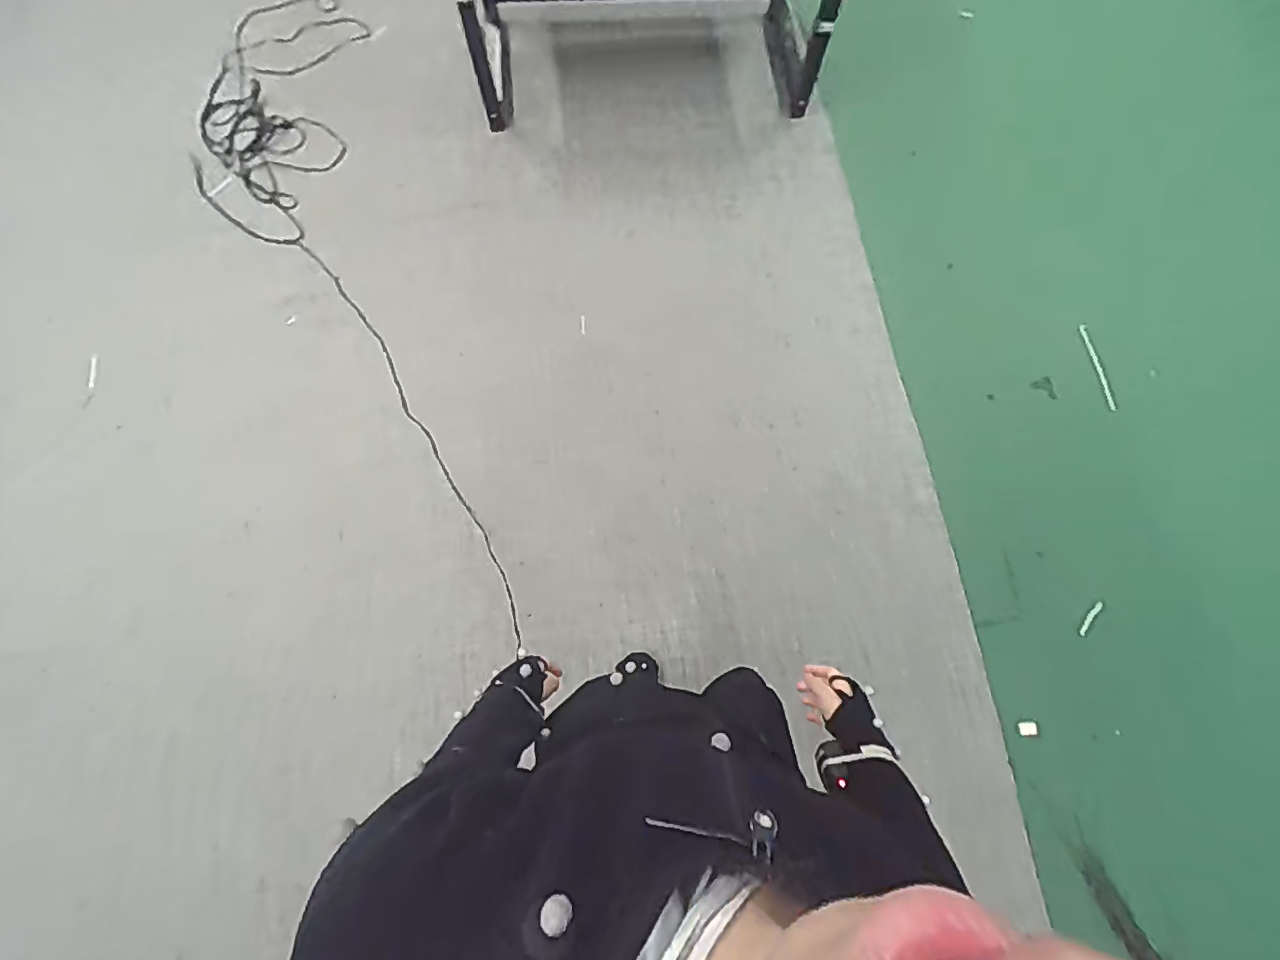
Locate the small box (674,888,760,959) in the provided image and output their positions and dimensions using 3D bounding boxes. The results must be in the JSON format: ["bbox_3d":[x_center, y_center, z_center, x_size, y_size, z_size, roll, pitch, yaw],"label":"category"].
[{"bbox_3d":[0.168,1.059,1.214,0.168,0.176,0.179,4,72,-1],"label":"small box"}]
